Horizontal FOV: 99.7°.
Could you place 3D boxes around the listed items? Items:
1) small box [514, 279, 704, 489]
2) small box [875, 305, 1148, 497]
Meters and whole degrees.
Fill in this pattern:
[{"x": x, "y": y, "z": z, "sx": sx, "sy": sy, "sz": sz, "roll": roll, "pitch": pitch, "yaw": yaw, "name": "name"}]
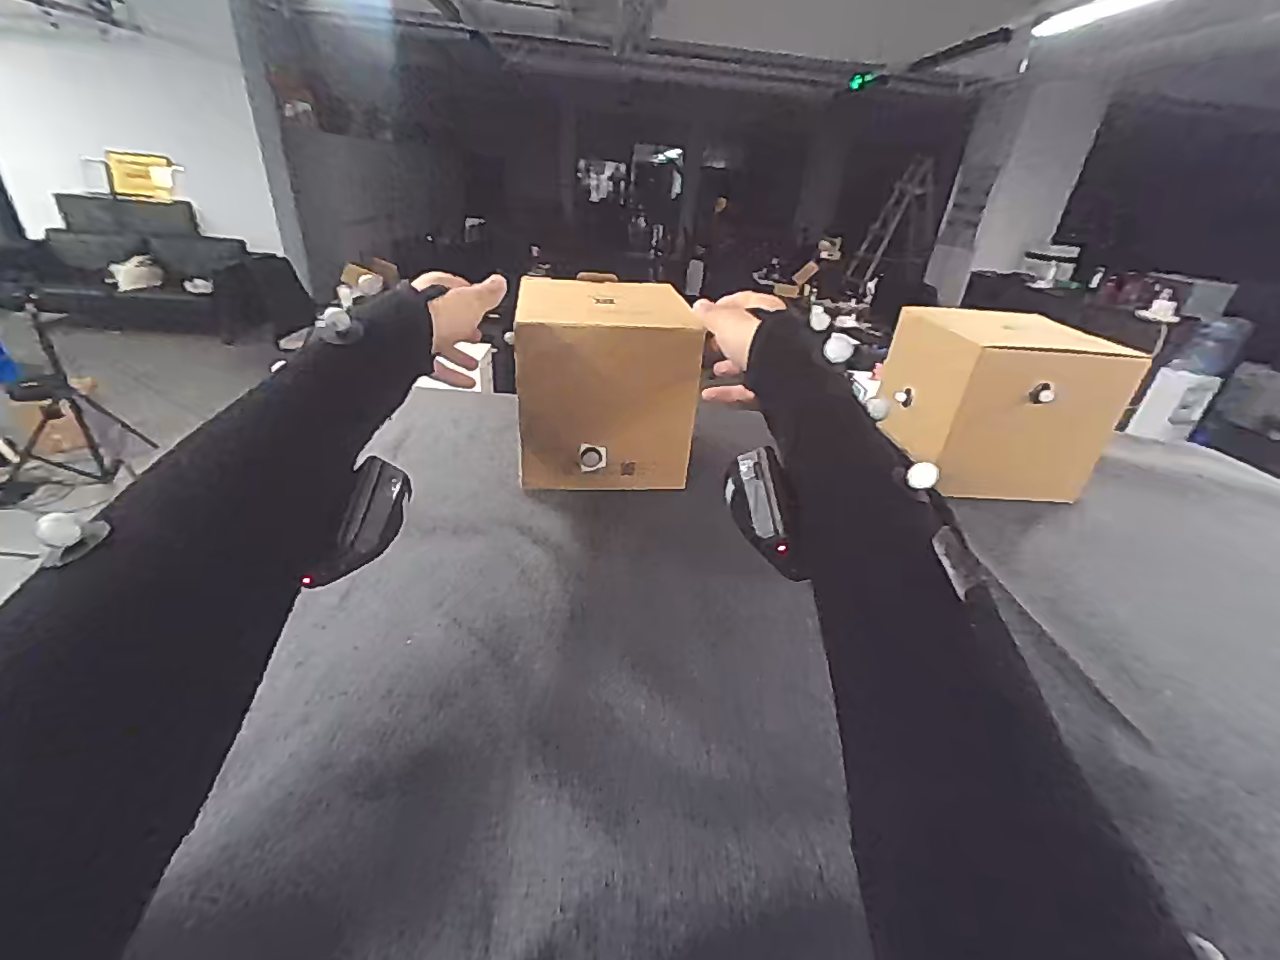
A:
[{"x": -0.041, "y": -0.105, "z": 0.568, "sx": 0.168, "sy": 0.176, "sz": 0.179, "roll": -1, "pitch": 30, "yaw": -8, "name": "small box"}, {"x": 0.390, "y": -0.092, "z": 0.614, "sx": 0.179, "sy": 0.176, "sz": 0.168, "roll": 3, "pitch": 30, "yaw": -3, "name": "small box"}]
